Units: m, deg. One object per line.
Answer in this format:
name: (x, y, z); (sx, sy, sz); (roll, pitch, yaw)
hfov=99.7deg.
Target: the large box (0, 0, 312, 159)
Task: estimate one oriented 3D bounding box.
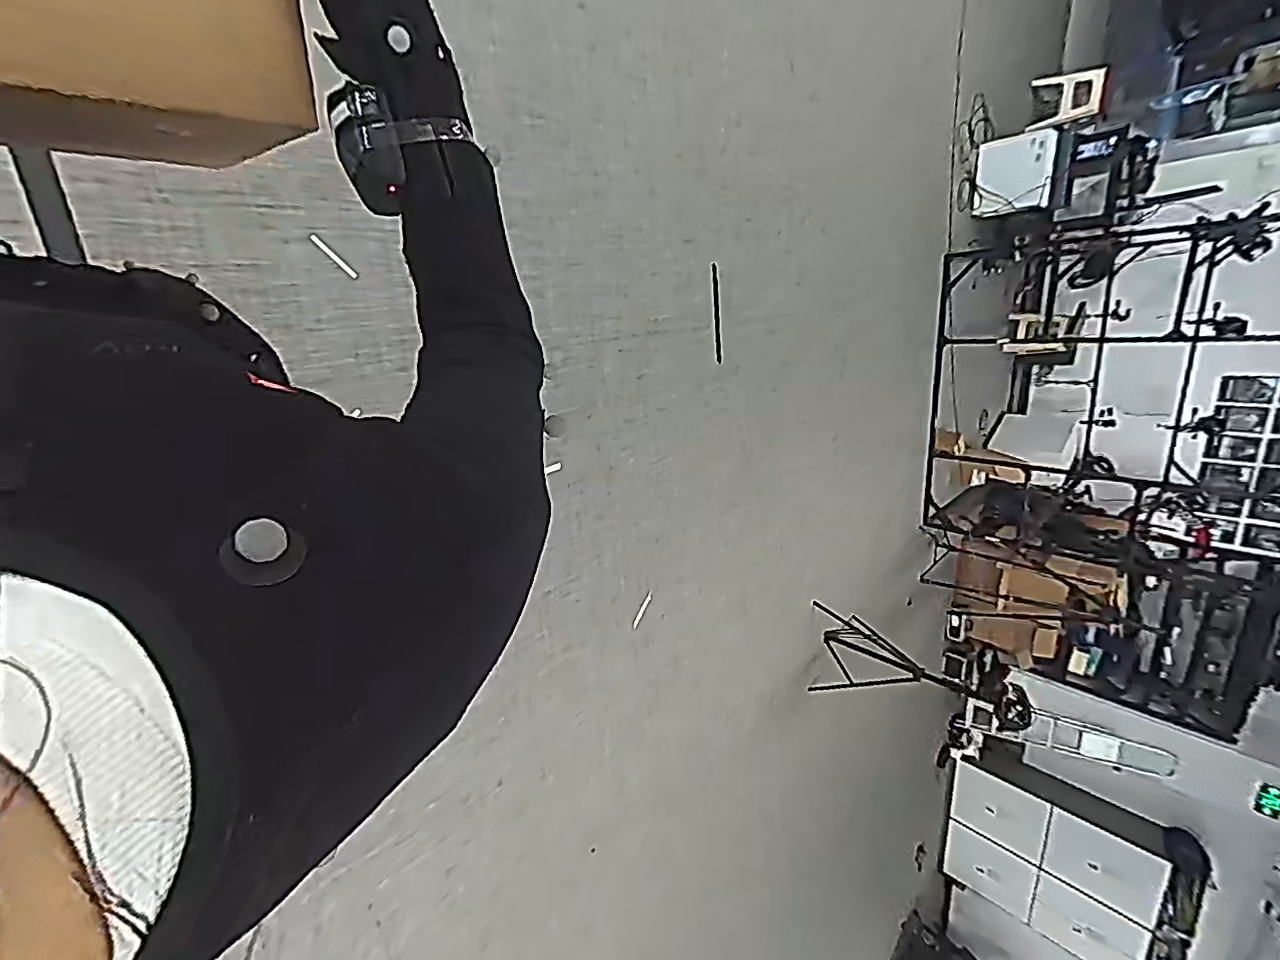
large box: (-0.464, -0.370, 0.274); (0.408, 0.320, 0.320); (-20, 123, -41)
